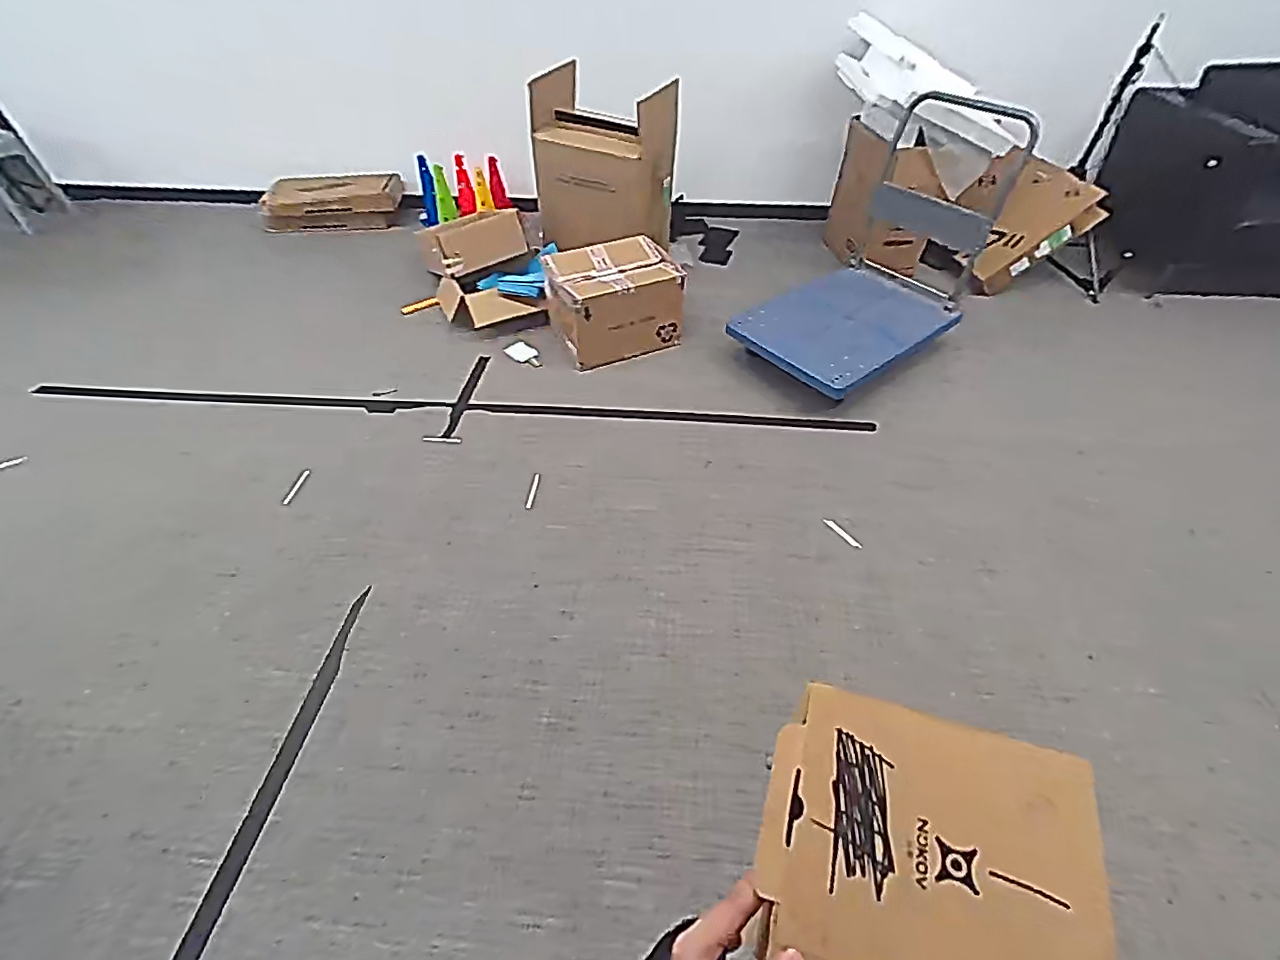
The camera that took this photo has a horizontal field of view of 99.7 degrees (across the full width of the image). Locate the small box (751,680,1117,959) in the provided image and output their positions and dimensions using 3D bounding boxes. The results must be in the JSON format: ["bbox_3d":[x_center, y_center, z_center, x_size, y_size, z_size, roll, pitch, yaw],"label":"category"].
[{"bbox_3d":[0.181,0.269,0.378,0.179,0.176,0.168,12,54,15],"label":"small box"}]
